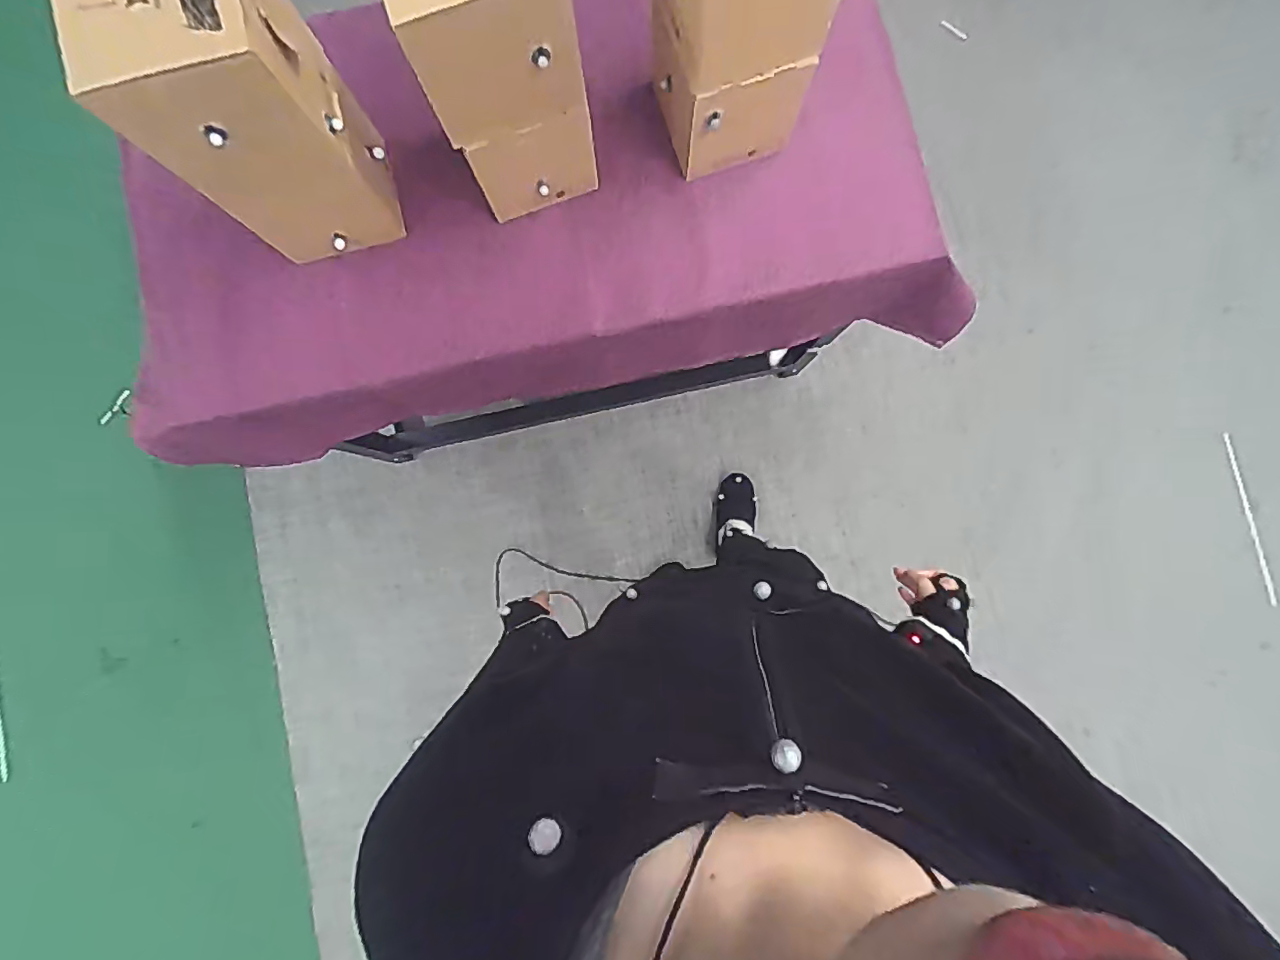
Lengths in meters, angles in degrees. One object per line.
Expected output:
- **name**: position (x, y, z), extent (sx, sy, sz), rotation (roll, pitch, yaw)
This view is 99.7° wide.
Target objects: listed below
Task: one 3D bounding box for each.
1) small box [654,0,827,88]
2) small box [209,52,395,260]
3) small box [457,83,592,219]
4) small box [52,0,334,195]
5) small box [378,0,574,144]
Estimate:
- **small box**: position (0.109, -0.585, 0.598), extent (0.179, 0.176, 0.168), rotation (-19, 86, -1)
- **small box**: position (-0.466, -0.437, 0.754), extent (0.179, 0.176, 0.168), rotation (-14, 86, -1)
- **small box**: position (-0.176, -0.510, 0.759), extent (0.168, 0.176, 0.179), rotation (-20, 87, 0)
- **small box**: position (-0.466, -0.449, 0.590), extent (0.179, 0.176, 0.168), rotation (-14, 86, 0)
- **small box**: position (-0.179, -0.518, 0.596), extent (0.179, 0.176, 0.168), rotation (-18, 85, 0)
